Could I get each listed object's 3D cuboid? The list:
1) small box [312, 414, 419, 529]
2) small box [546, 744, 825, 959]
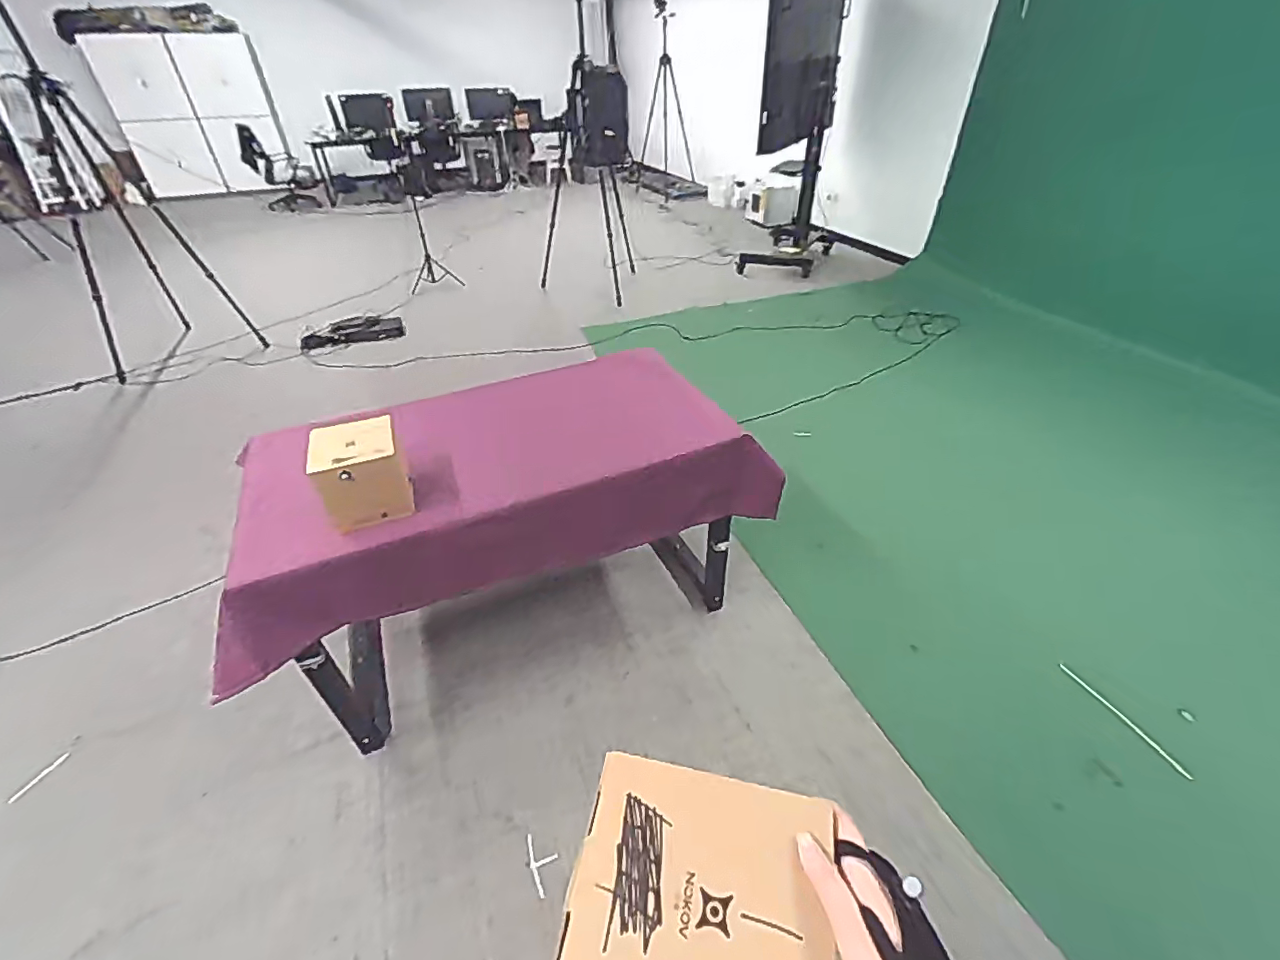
[{"bbox_3d":[-0.600,-0.021,1.198,0.168,0.176,0.179,-16,40,-16],"label":"small box"},{"bbox_3d":[0.038,0.336,0.425,0.179,0.176,0.168,9,48,9],"label":"small box"}]
